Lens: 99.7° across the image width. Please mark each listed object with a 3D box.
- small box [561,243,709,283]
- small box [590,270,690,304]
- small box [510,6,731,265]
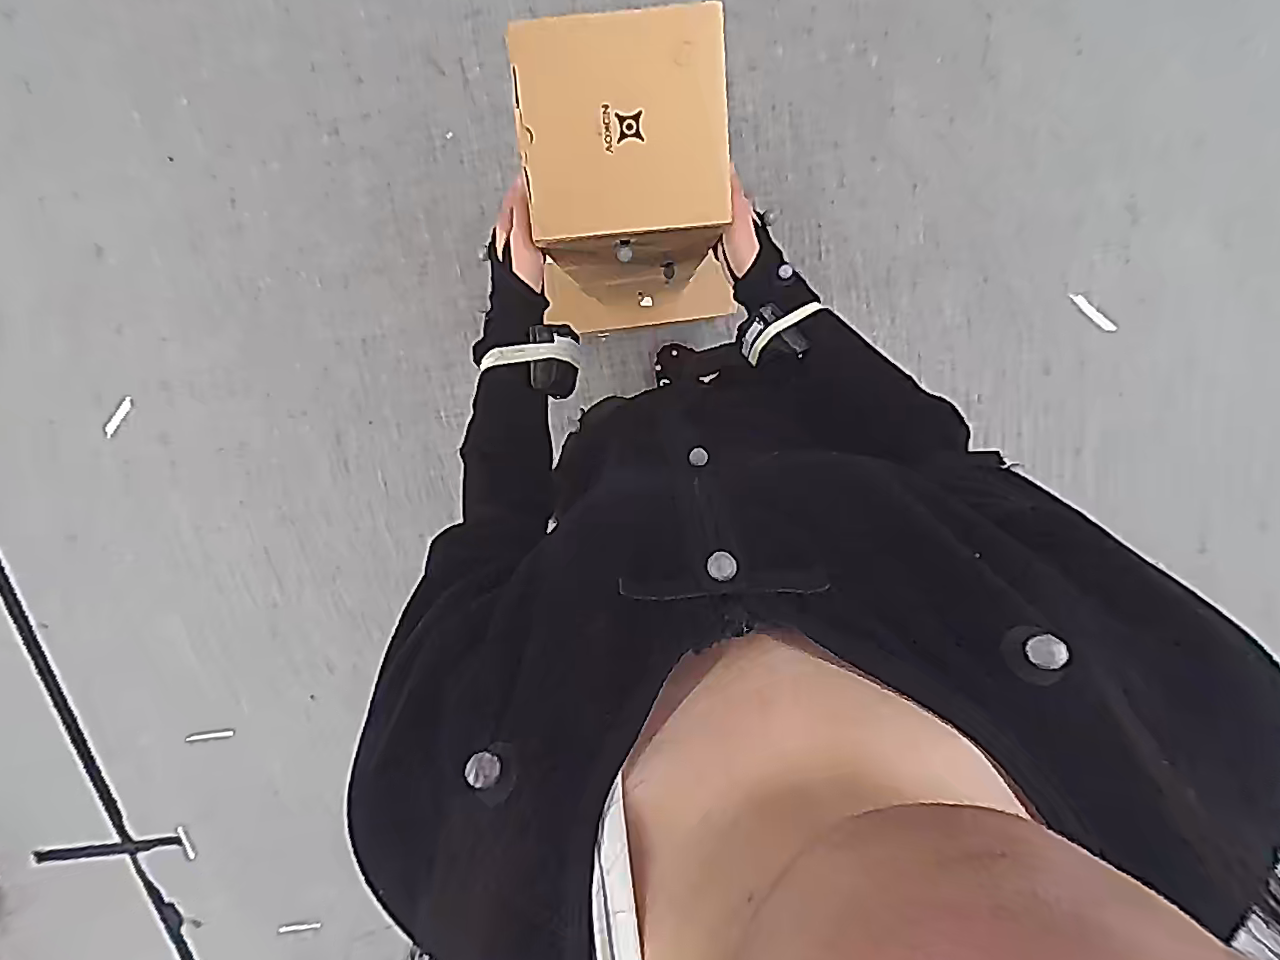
[{"bbox_3d":[-0.013,-0.352,0.690,0.179,0.176,0.168,-5,104,2],"label":"small box"},{"bbox_3d":[-0.009,-0.430,1.009,0.179,0.176,0.168,-9,105,2],"label":"small box"},{"bbox_3d":[-0.014,-0.314,0.531,0.179,0.176,0.168,-5,104,2],"label":"small box"}]
